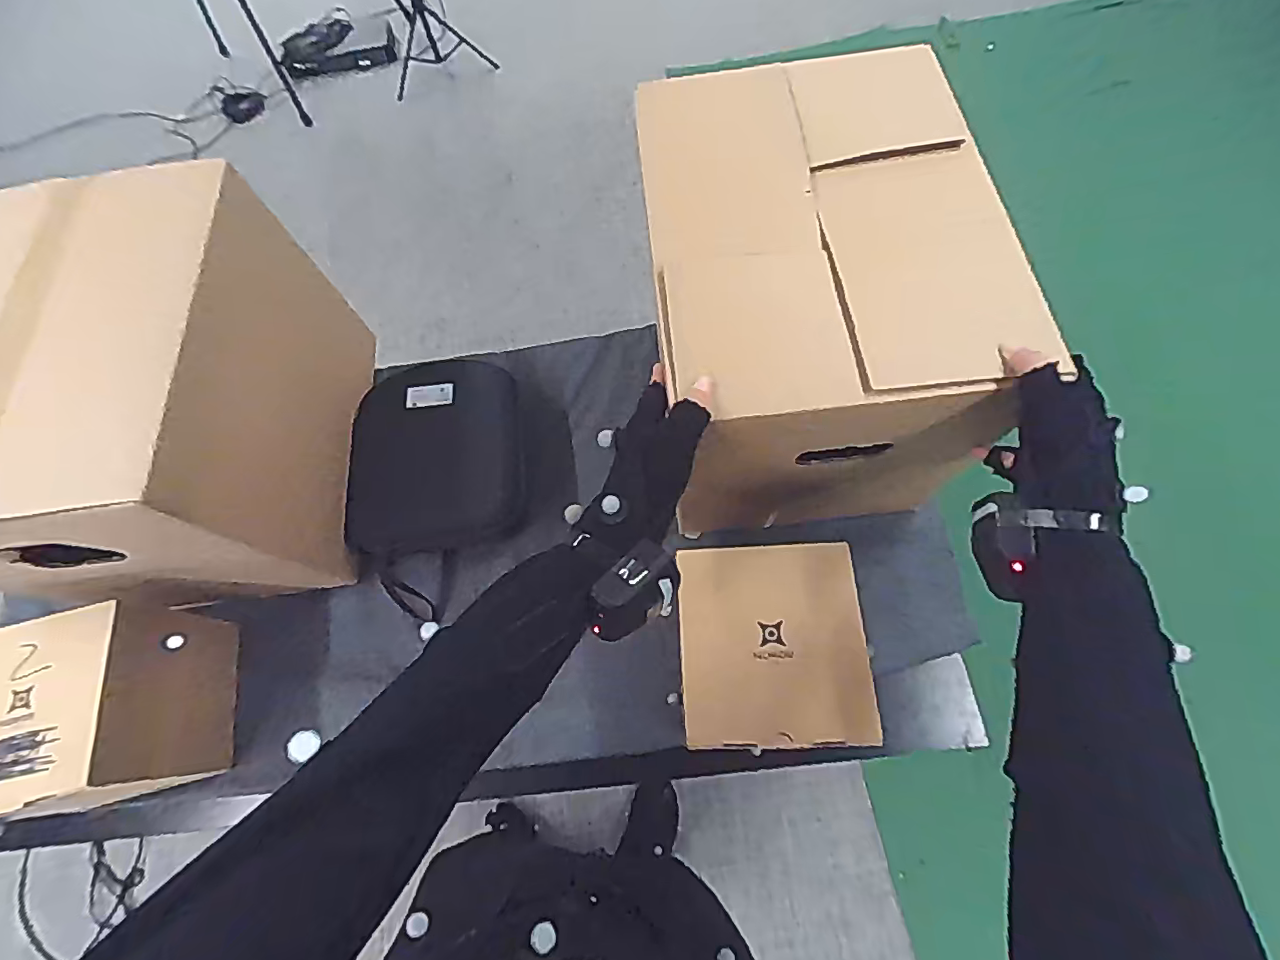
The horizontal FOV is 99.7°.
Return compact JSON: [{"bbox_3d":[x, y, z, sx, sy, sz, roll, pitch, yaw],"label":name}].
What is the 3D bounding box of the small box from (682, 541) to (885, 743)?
[{"bbox_3d":[0.129,0.172,0.562,0.168,0.176,0.179,-3,68,4],"label":"small box"}]
